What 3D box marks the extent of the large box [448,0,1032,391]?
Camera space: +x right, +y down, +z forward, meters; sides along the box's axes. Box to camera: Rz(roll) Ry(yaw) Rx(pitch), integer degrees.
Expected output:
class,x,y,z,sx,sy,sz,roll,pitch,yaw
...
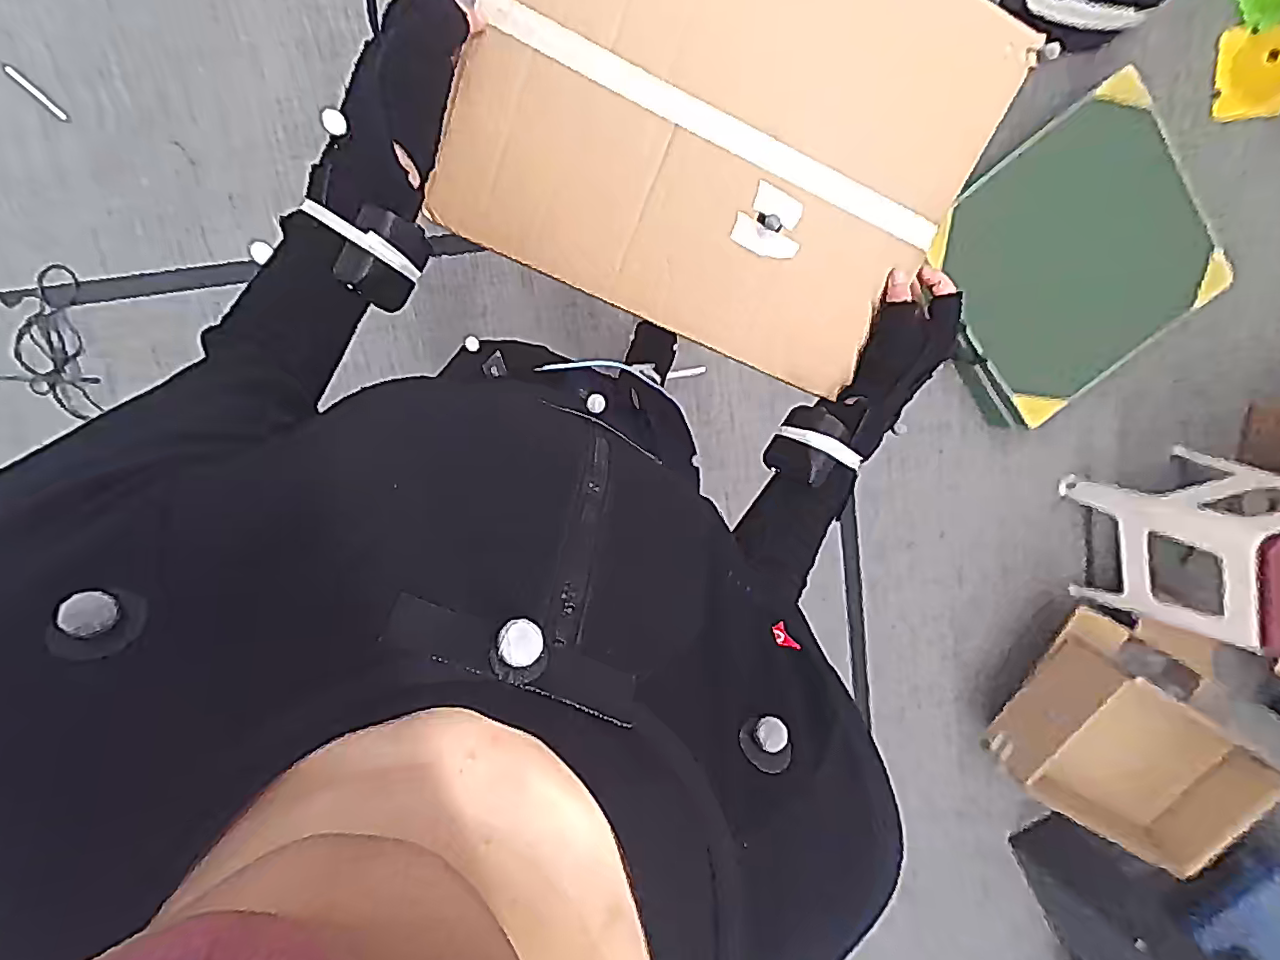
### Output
class,x,y,z,sx,sy,sz,roll,pitch,yaw
large box,0.066,-0.338,0.581,0.408,0.320,0.320,21,110,-11
